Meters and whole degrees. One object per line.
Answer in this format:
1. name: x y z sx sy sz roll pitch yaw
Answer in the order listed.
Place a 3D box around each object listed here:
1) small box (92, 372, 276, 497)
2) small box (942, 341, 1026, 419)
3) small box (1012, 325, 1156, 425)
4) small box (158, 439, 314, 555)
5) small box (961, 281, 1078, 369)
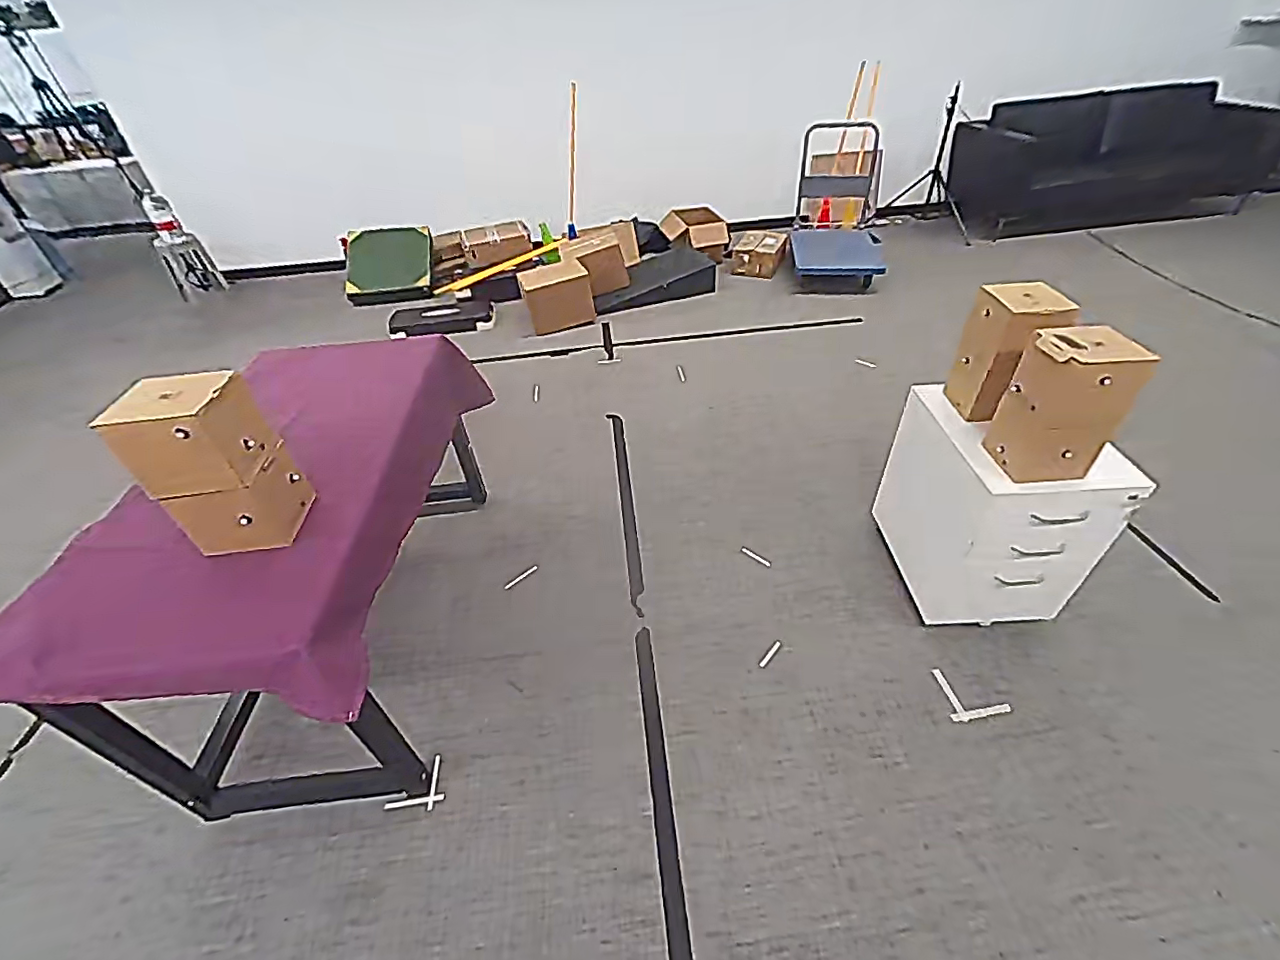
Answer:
1. small box: -0.837 -0.084 1.017 0.179 0.176 0.168 -7 40 -5
2. small box: 1.005 -0.286 1.544 0.179 0.176 0.168 -2 41 1
3. small box: 0.996 -0.238 1.239 0.179 0.176 0.168 -3 41 0
4. small box: -0.822 0.036 1.126 0.179 0.176 0.168 -7 40 -2
5. small box: 0.991 -0.411 1.435 0.168 0.176 0.179 -3 41 2
